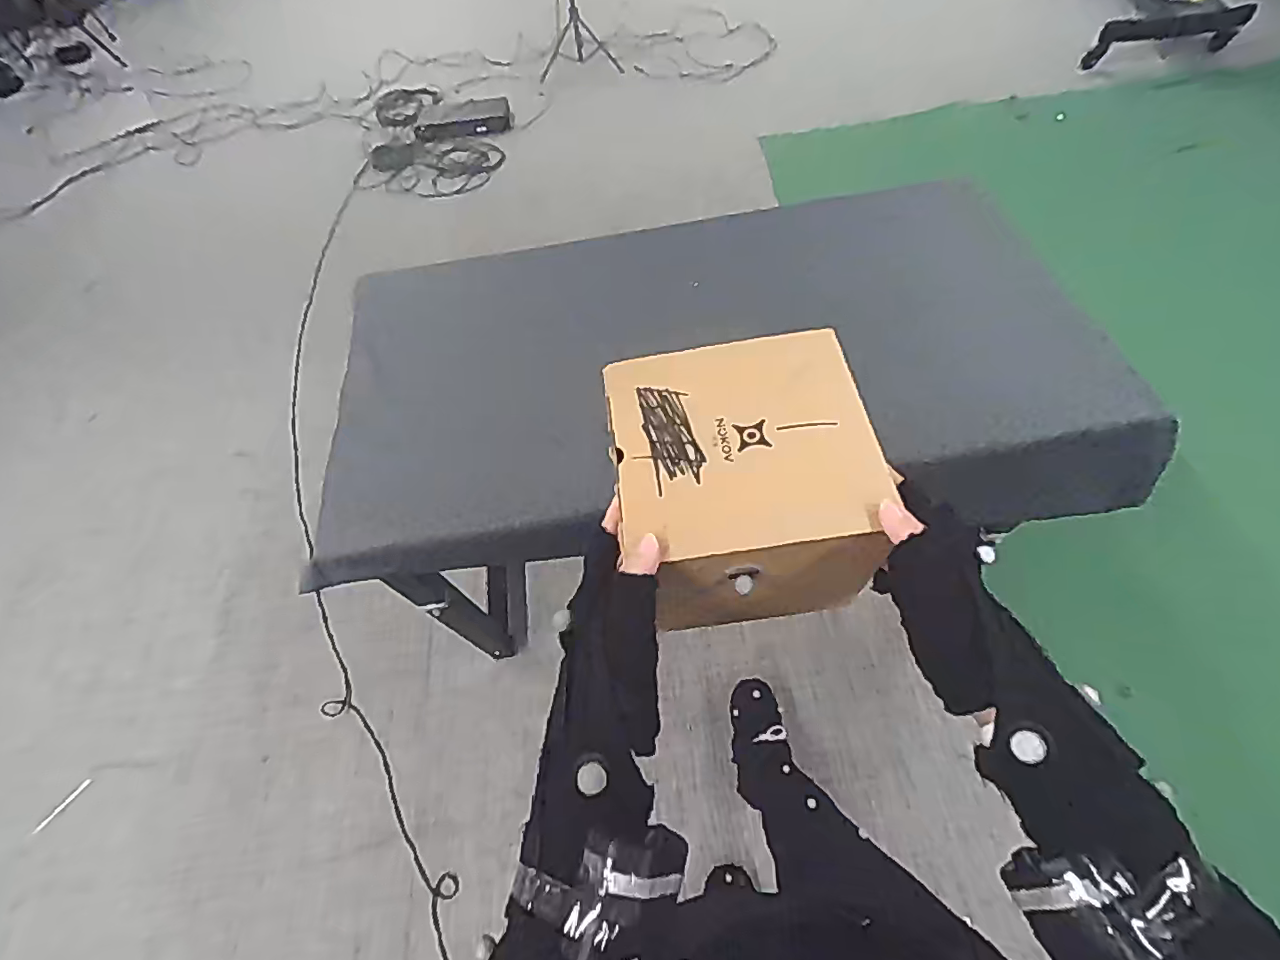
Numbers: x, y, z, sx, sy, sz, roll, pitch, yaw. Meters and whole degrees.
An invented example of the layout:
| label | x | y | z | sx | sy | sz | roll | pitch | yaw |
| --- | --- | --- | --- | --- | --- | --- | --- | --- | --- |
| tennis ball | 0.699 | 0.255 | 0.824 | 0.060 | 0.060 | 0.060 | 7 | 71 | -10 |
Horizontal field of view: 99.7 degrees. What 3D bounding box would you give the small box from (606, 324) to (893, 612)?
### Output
| label | x | y | z | sx | sy | sz | roll | pitch | yaw |
| --- | --- | --- | --- | --- | --- | --- | --- | --- | --- |
| small box | 0.076 | 0.001 | 0.449 | 0.179 | 0.176 | 0.168 | -8 | 60 | 2 |
